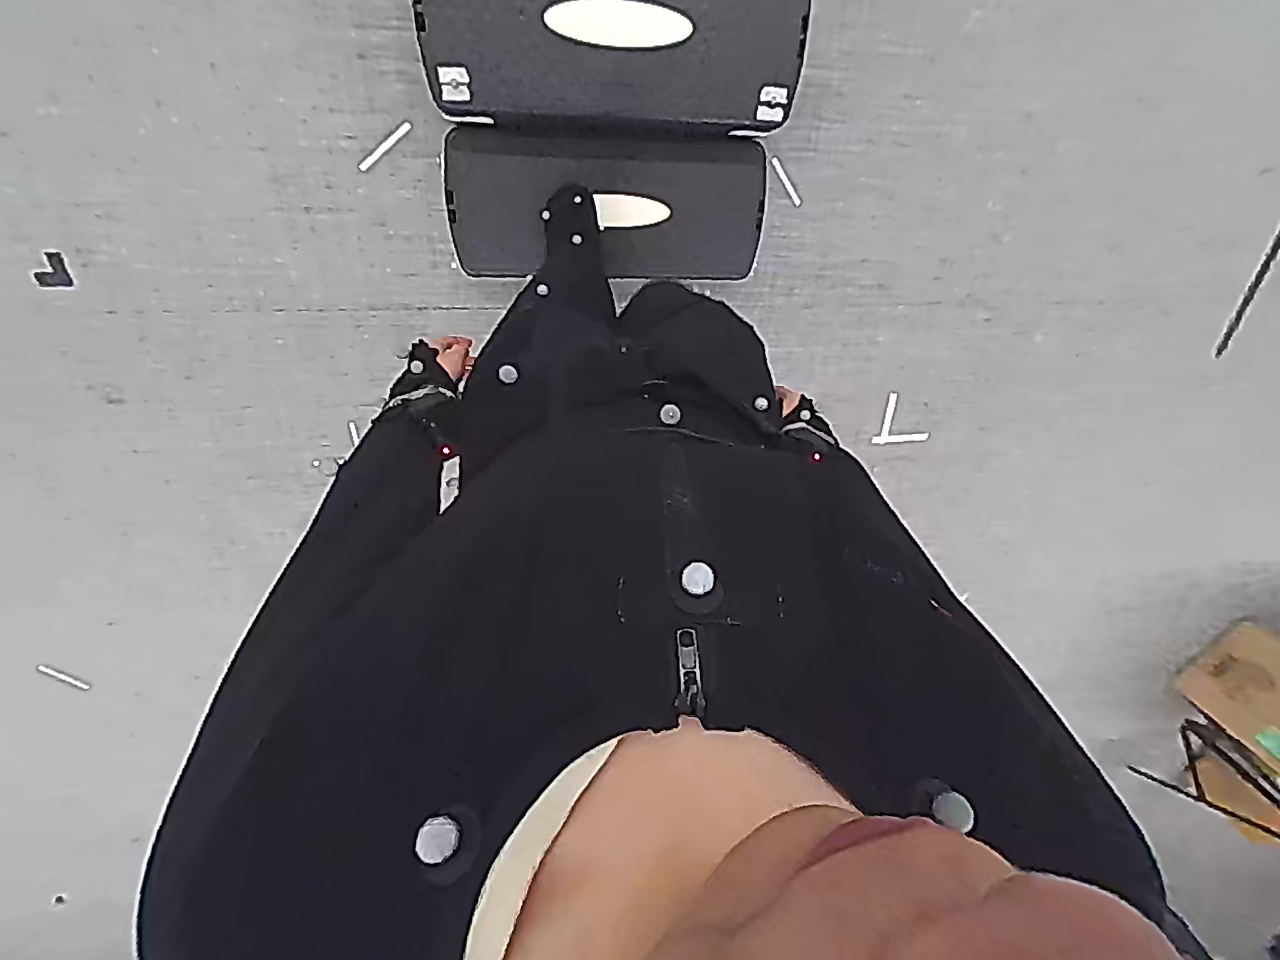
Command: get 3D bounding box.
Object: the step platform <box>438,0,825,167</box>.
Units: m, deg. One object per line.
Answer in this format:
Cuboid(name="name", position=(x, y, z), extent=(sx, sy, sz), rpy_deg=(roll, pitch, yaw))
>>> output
Cuboid(name="step platform", position=(-0.014, -0.785, 1.008), extent=(0.684, 0.204, 0.286), rpy_deg=(1, 118, -10))
